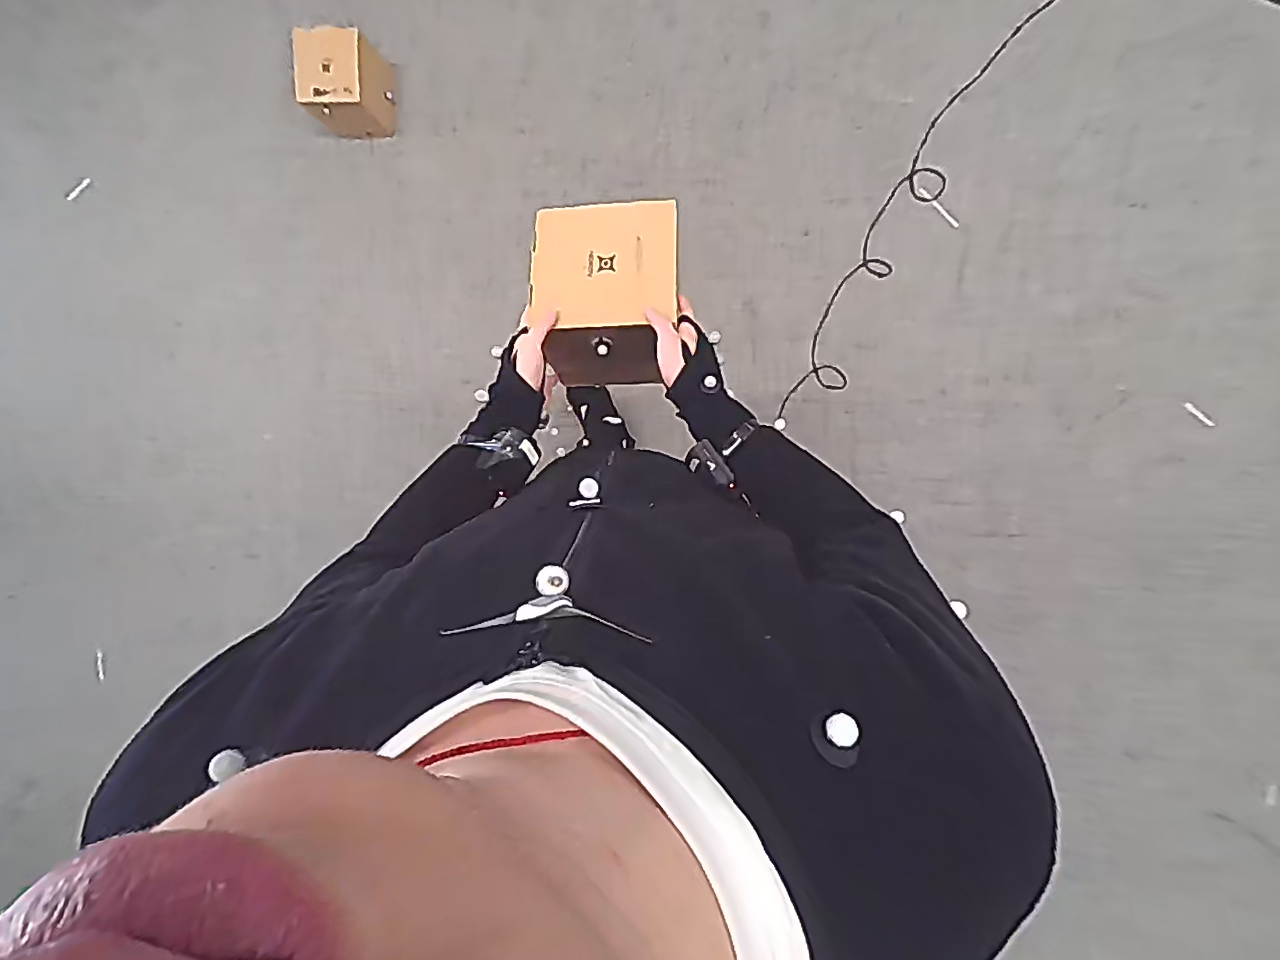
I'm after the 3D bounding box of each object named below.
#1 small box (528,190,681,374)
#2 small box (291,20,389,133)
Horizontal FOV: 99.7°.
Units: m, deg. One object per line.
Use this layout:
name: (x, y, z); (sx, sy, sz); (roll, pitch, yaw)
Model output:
small box: (-0.036, -0.248, 0.715); (0.179, 0.176, 0.168); (-1, 77, 5)
small box: (-0.770, -1.040, 1.402); (0.168, 0.176, 0.179); (2, 96, 3)
